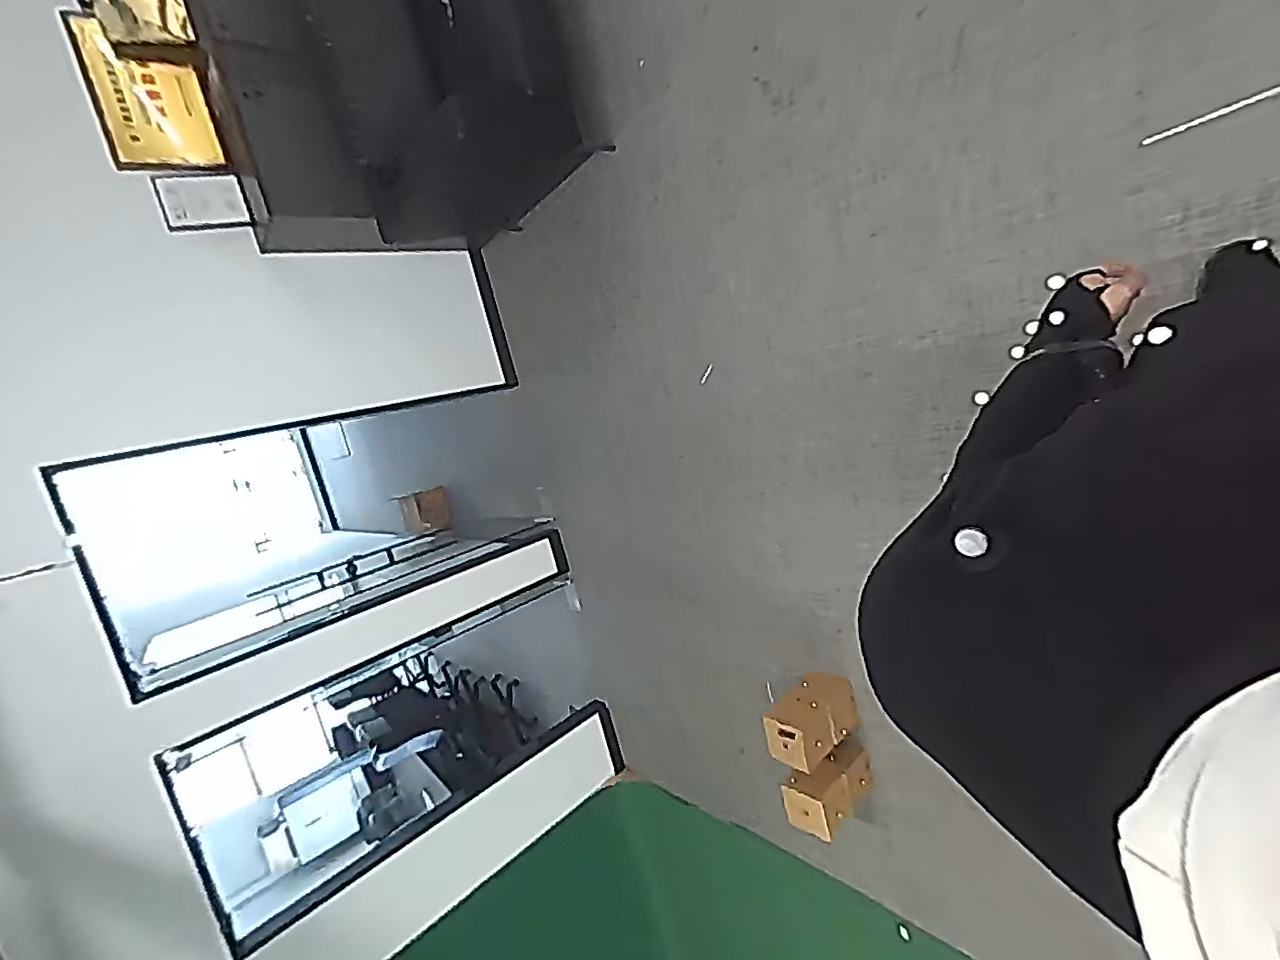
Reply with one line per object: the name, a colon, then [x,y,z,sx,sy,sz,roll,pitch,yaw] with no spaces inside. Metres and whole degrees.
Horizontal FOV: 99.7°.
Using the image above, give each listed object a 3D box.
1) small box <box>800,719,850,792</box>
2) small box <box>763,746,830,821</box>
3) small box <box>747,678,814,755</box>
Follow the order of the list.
small box: [0.714,1.083,2.143,0.179,0.176,0.168,0,106,49]
small box: [0.597,1.127,2.040,0.179,0.176,0.168,-4,104,50]
small box: [0.522,0.869,2.007,0.168,0.176,0.179,2,109,49]
